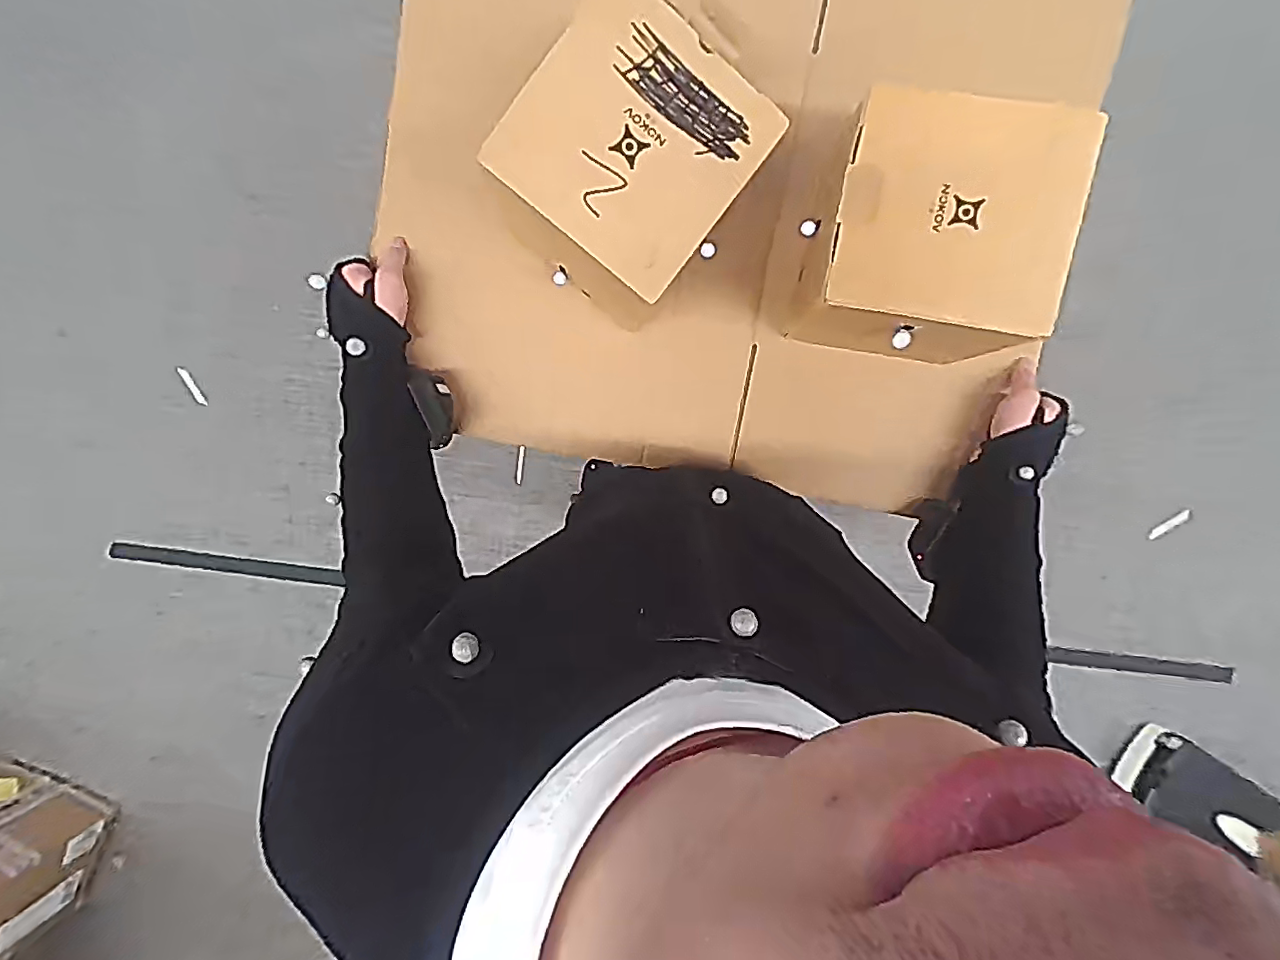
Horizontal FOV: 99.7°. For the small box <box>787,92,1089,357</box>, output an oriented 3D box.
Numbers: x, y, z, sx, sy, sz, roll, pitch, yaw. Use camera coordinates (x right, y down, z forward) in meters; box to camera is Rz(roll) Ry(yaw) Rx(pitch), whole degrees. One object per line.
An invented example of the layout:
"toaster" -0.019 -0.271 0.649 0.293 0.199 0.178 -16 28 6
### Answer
"small box" 0.252 -0.217 0.506 0.179 0.176 0.168 11 96 5
